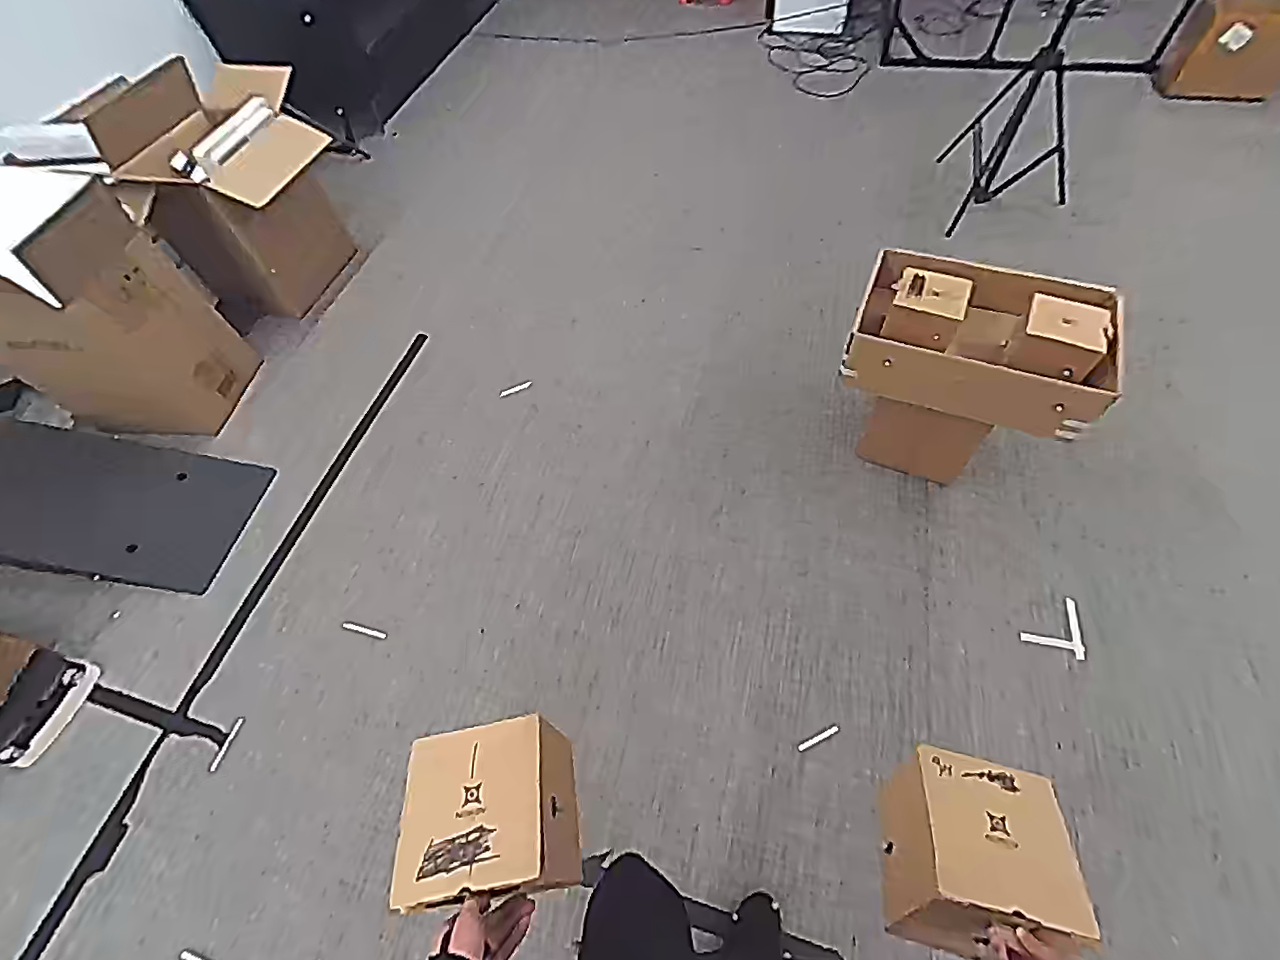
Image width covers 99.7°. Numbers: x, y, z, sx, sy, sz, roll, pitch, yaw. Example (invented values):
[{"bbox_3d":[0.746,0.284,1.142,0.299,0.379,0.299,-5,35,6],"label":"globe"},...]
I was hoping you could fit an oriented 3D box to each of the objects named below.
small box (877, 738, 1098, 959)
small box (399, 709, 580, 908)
[{"bbox_3d":[0.416,0.472,0.688,0.168,0.176,0.179,12,39,9],"label":"small box"},{"bbox_3d":[-0.179,0.418,0.687,0.168,0.176,0.179,-13,51,1],"label":"small box"}]
